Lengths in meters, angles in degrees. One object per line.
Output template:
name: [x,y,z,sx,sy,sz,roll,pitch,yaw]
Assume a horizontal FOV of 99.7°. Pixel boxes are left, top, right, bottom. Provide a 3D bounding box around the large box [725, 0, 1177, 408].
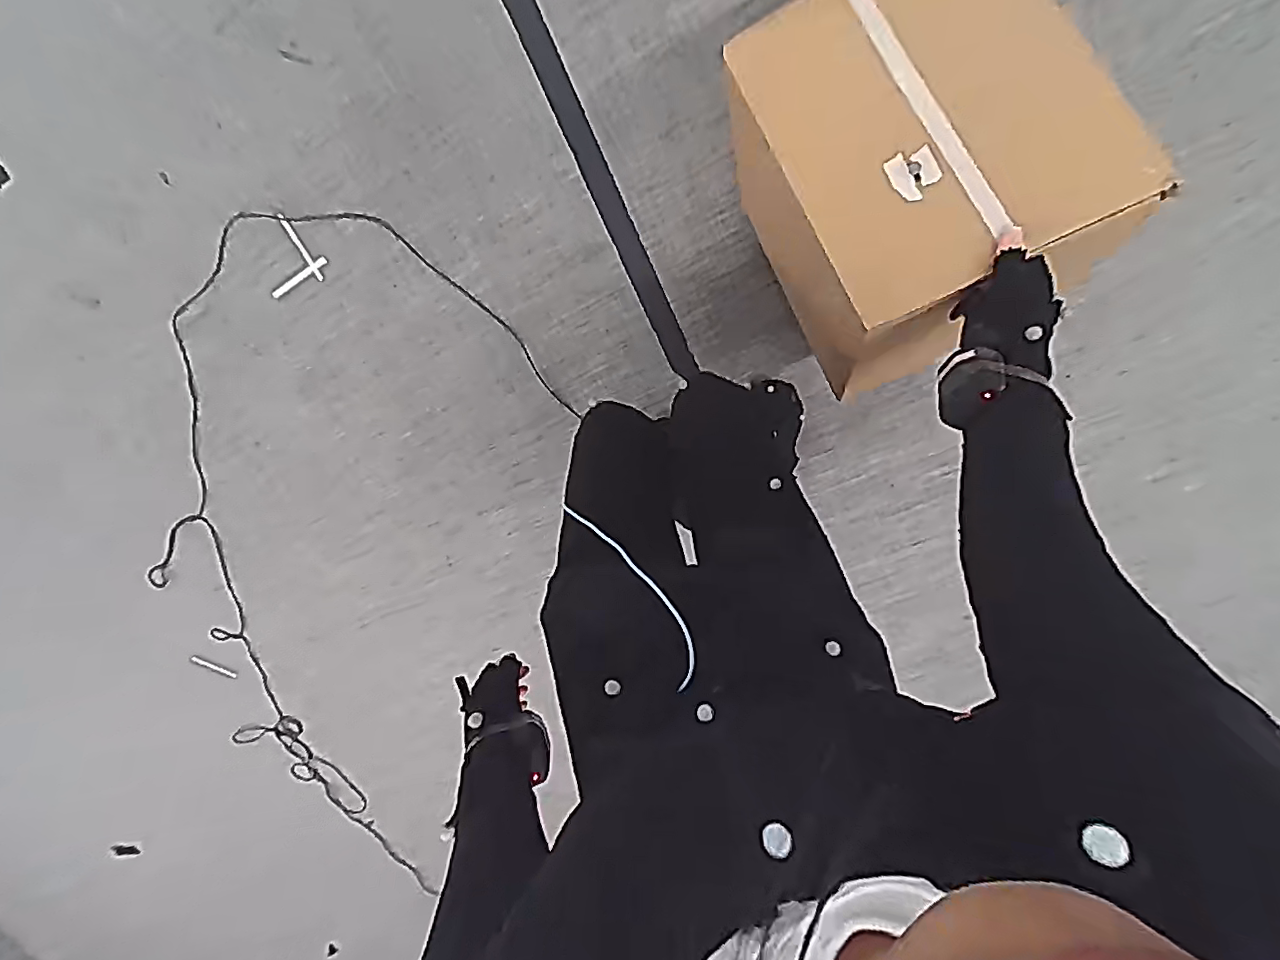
large box: [0.351,-0.370,0.739,0.320,0.320,0.408,-25,76,12]
